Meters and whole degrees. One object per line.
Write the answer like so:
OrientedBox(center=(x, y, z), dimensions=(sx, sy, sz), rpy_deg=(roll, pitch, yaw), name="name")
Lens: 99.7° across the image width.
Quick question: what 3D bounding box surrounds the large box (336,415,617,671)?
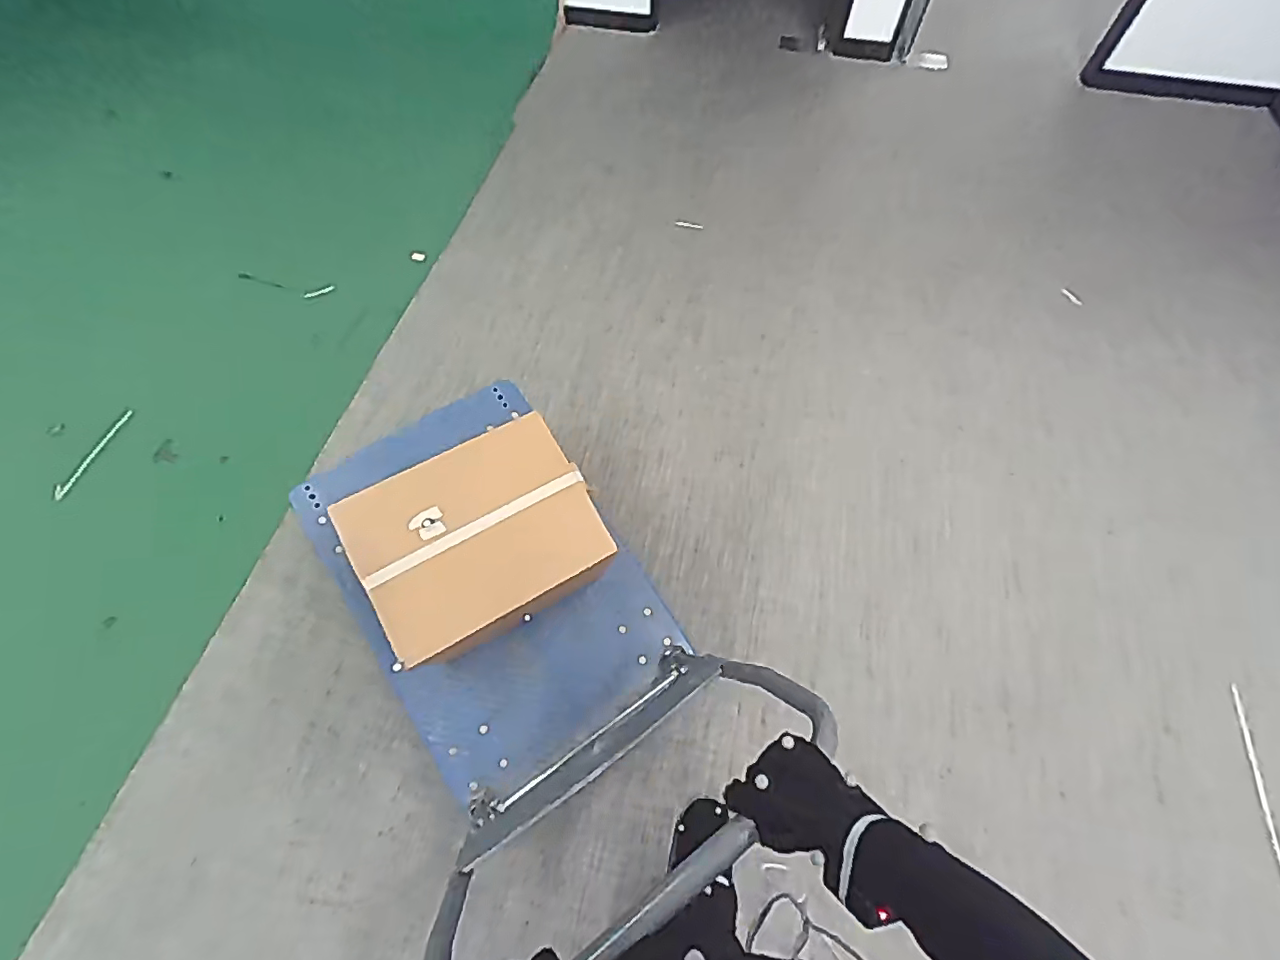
OrientedBox(center=(-0.301, 0.131, 1.096), dimensions=(0.408, 0.320, 0.320), rpy_deg=(-28, 79, -14), name="large box")
